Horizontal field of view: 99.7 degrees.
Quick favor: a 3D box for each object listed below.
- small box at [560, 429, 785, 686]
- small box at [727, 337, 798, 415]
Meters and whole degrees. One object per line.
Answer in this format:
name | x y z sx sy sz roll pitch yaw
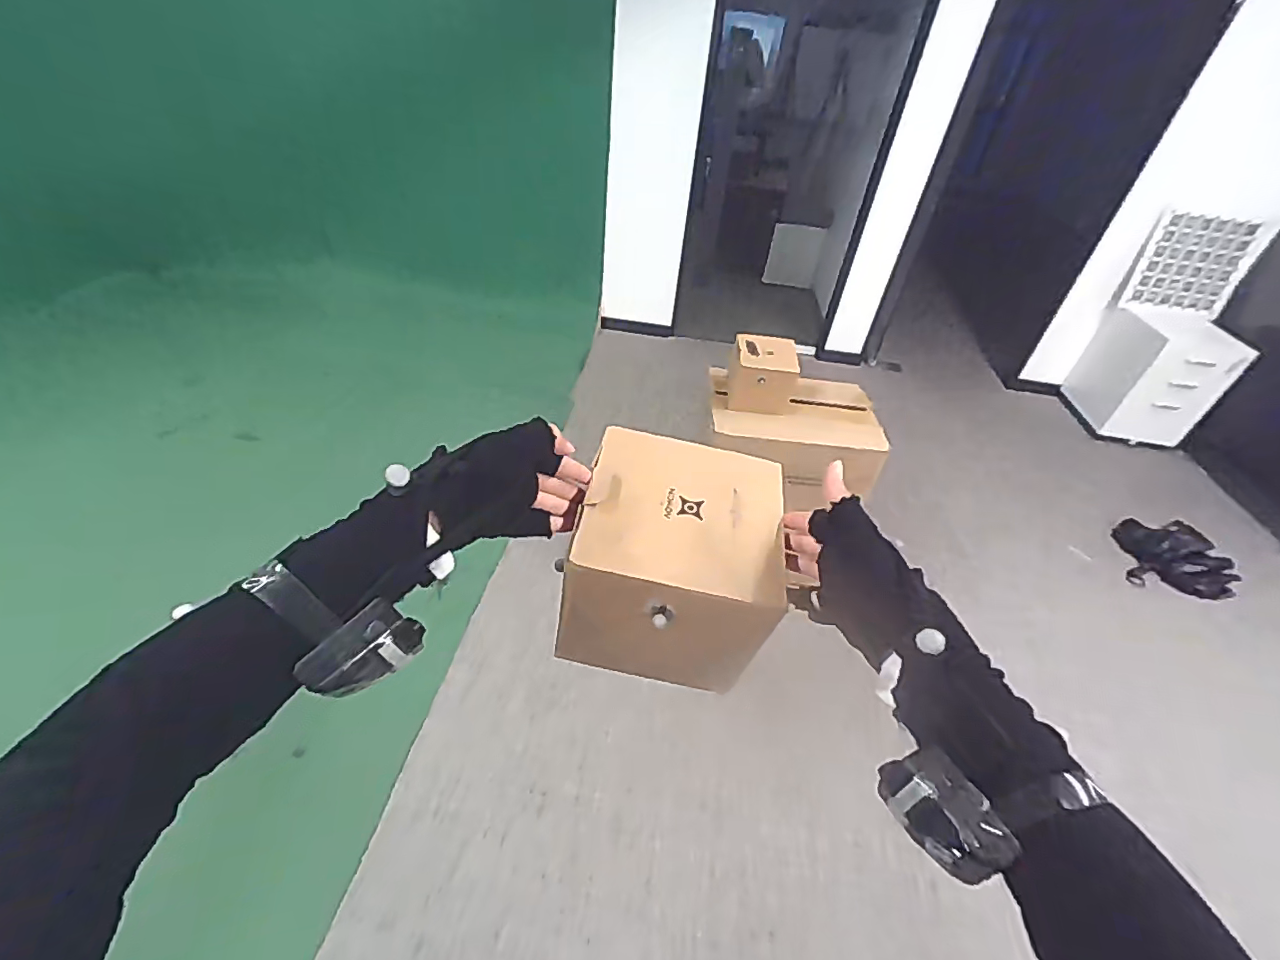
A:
small box | 0.026 0.080 0.529 0.179 0.176 0.168 13 46 -2
small box | 0.367 -0.317 1.662 0.179 0.176 0.168 7 49 -1
